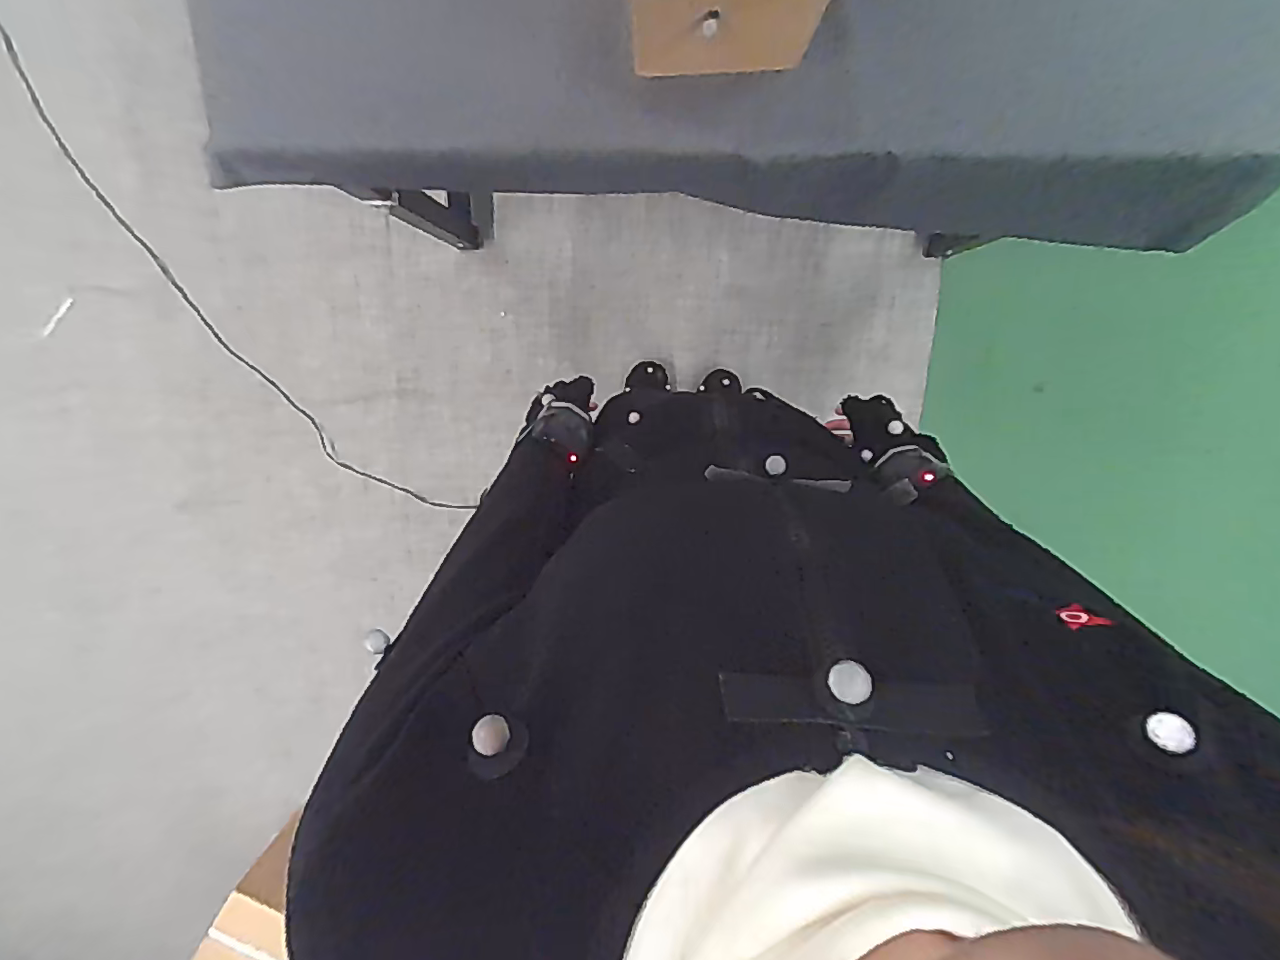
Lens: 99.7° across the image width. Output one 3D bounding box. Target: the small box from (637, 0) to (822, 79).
[{"bbox_3d":[0.080,-0.506,0.497,0.179,0.176,0.168,-4,100,3],"label":"small box"}]
